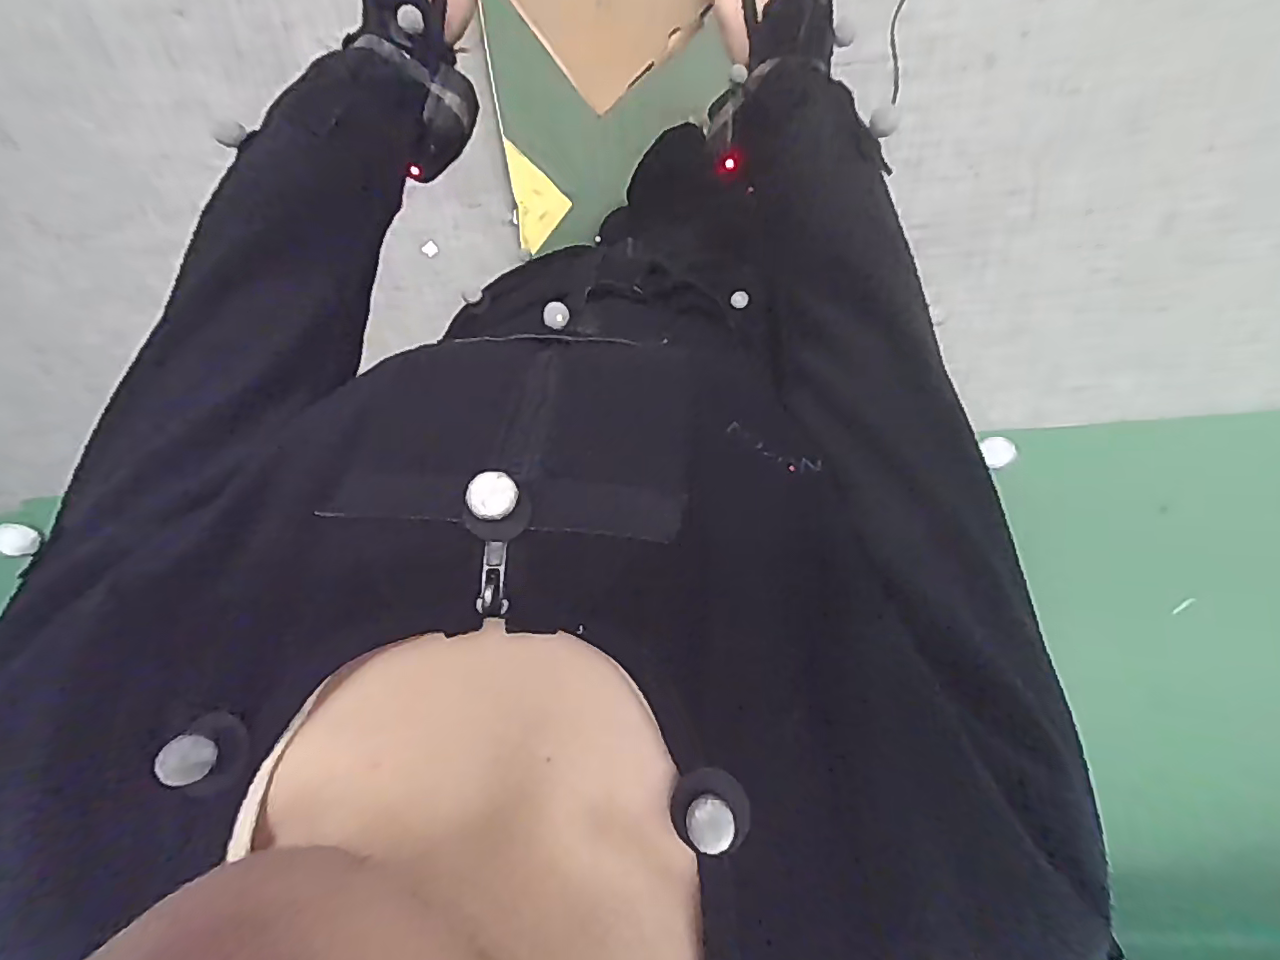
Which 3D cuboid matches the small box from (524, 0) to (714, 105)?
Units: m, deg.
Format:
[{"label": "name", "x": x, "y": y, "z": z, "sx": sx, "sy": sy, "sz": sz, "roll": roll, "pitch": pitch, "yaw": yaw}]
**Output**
[{"label": "small box", "x": -0.021, "y": -0.450, "z": 0.420, "sx": 0.168, "sy": 0.176, "sz": 0.179, "roll": -28, "pitch": 129, "yaw": 28}]
